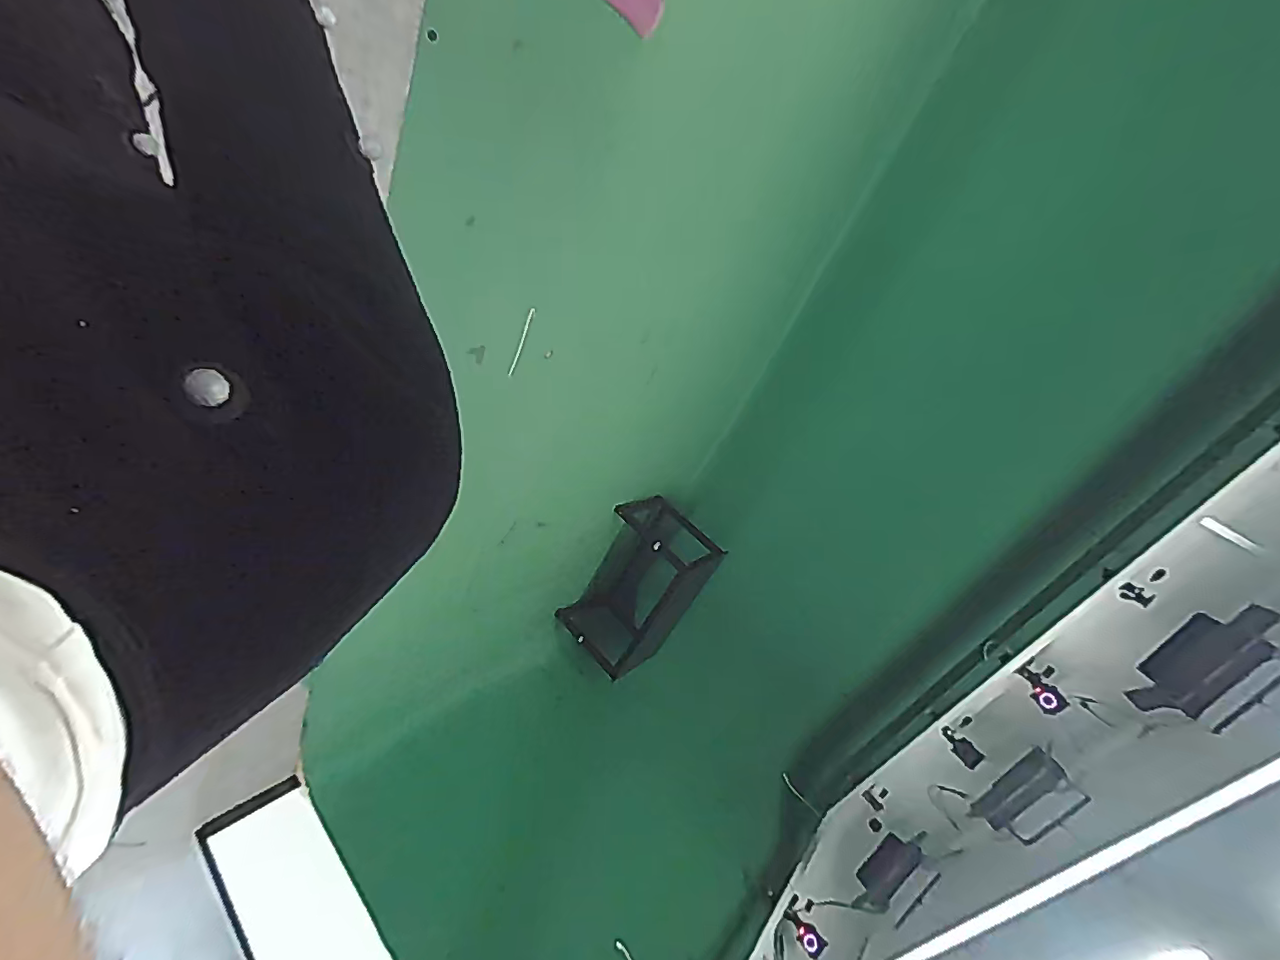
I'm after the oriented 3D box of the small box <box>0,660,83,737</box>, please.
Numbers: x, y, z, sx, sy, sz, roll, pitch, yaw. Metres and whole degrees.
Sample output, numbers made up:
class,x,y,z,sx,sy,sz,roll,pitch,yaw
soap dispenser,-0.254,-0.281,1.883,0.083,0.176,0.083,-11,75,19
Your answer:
class,x,y,z,sx,sy,sz,roll,pitch,yaw
small box,-1.791,0.673,1.608,0.168,0.176,0.179,-5,131,-52

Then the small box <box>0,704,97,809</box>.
class,x,y,z,sx,sy,sz,roll,pitch,yaw
small box,-1.687,0.776,1.537,0.168,0.176,0.179,-1,128,-56
